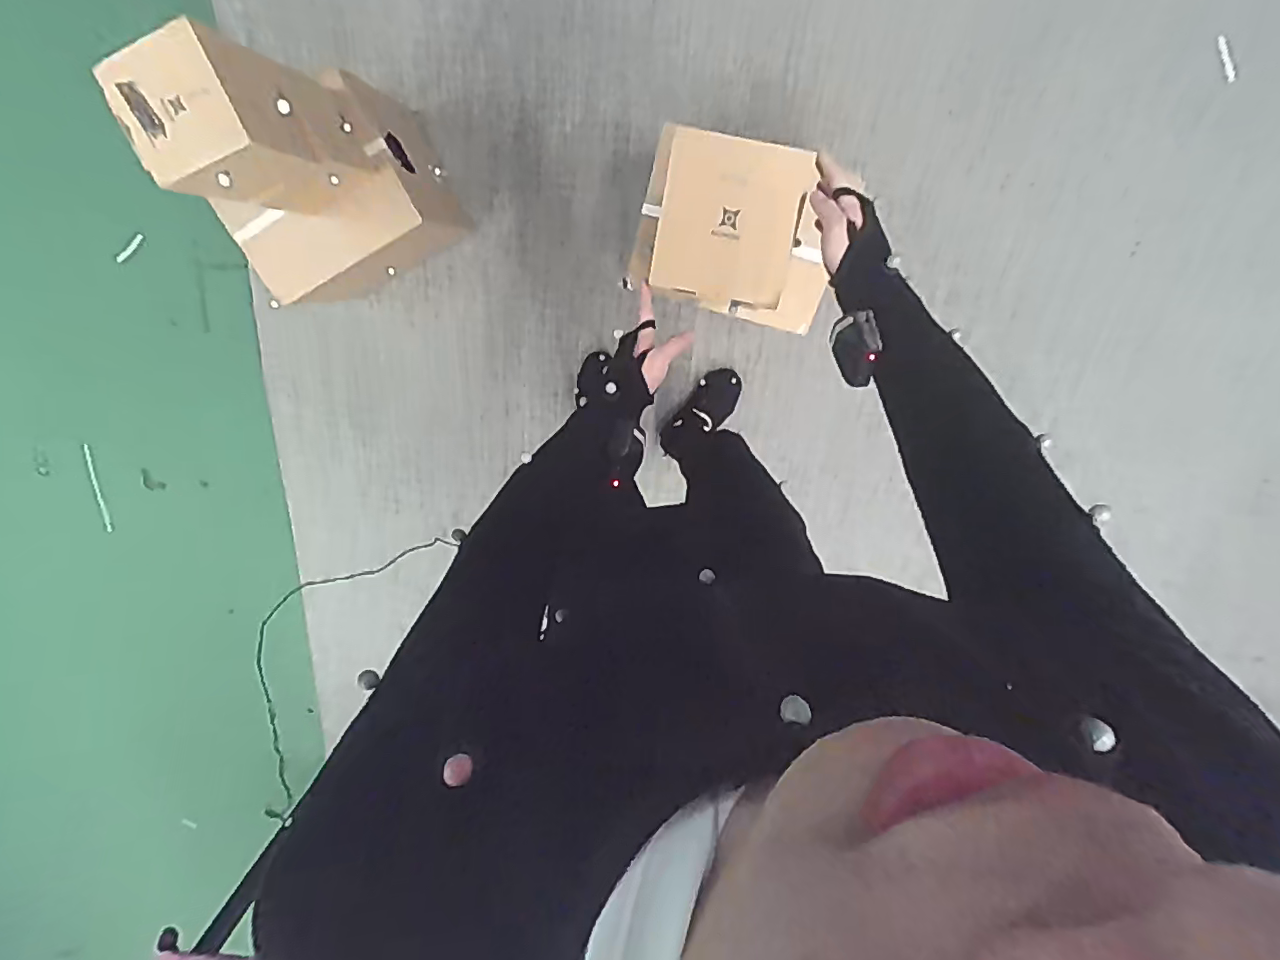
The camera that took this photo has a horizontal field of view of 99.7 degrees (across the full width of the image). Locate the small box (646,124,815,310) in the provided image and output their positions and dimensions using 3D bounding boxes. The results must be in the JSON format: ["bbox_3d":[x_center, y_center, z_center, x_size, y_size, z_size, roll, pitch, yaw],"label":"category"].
[{"bbox_3d":[0.108,-0.331,0.711,0.168,0.176,0.179,11,110,-1],"label":"small box"}]

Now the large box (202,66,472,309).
[{"bbox_3d":[-0.683,-0.646,1.263,0.408,0.320,0.320,-23,107,14],"label":"large box"}]

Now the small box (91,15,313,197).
[{"bbox_3d":[-0.671,-0.568,0.852,0.179,0.176,0.168,-17,109,10],"label":"small box"}]
